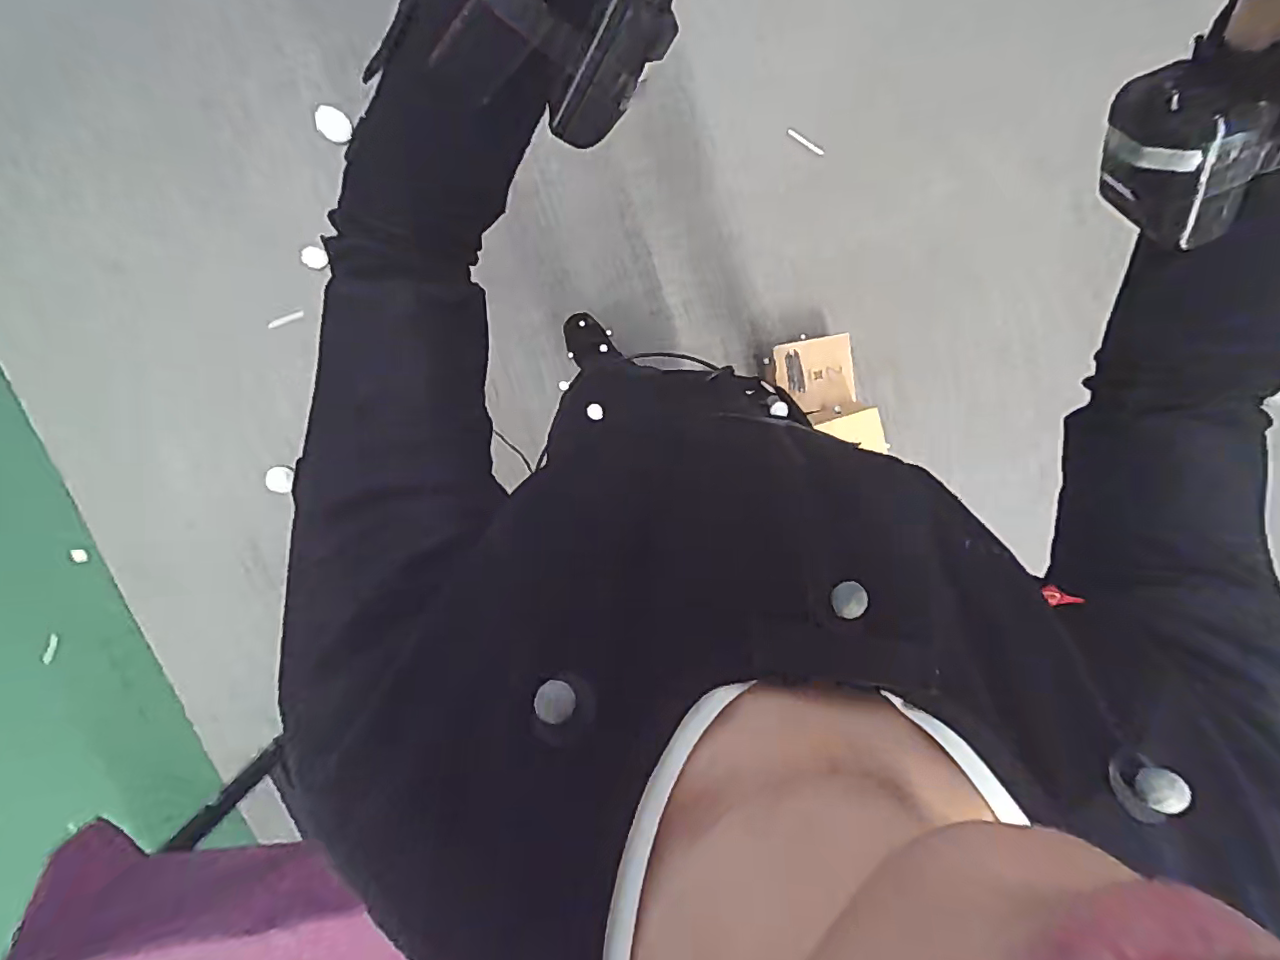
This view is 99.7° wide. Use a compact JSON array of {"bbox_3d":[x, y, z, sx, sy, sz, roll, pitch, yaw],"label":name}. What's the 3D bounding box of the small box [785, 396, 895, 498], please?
[{"bbox_3d":[0.431,-0.081,1.189,0.168,0.176,0.179,-17,101,8],"label":"small box"}]
